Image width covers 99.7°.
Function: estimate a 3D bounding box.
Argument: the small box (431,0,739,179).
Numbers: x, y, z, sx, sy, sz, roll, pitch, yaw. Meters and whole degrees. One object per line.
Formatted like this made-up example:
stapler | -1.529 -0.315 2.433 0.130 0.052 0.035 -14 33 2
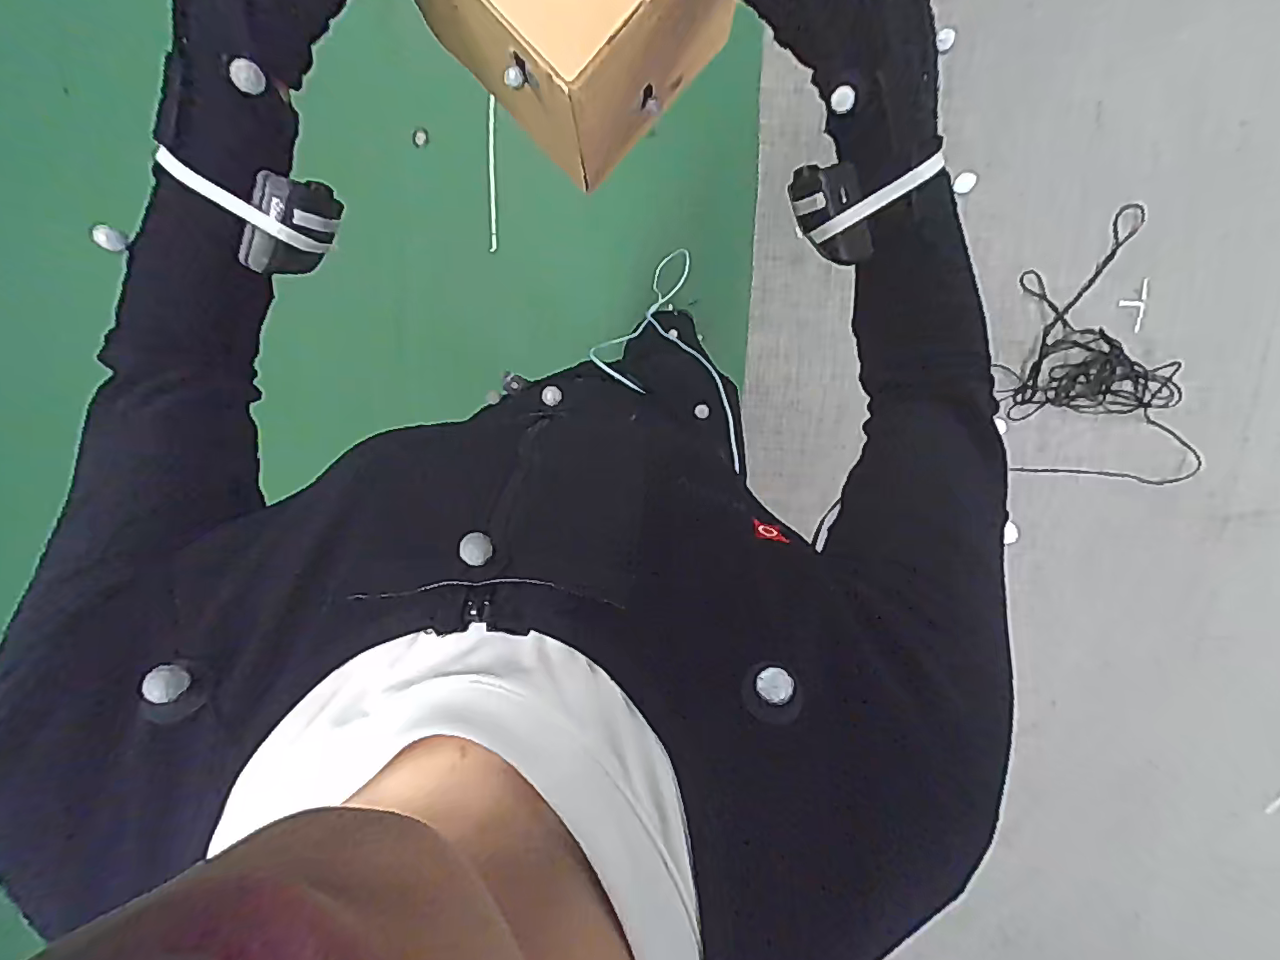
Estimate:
small box | -0.042 -0.349 0.365 0.168 0.176 0.179 -45 100 5
